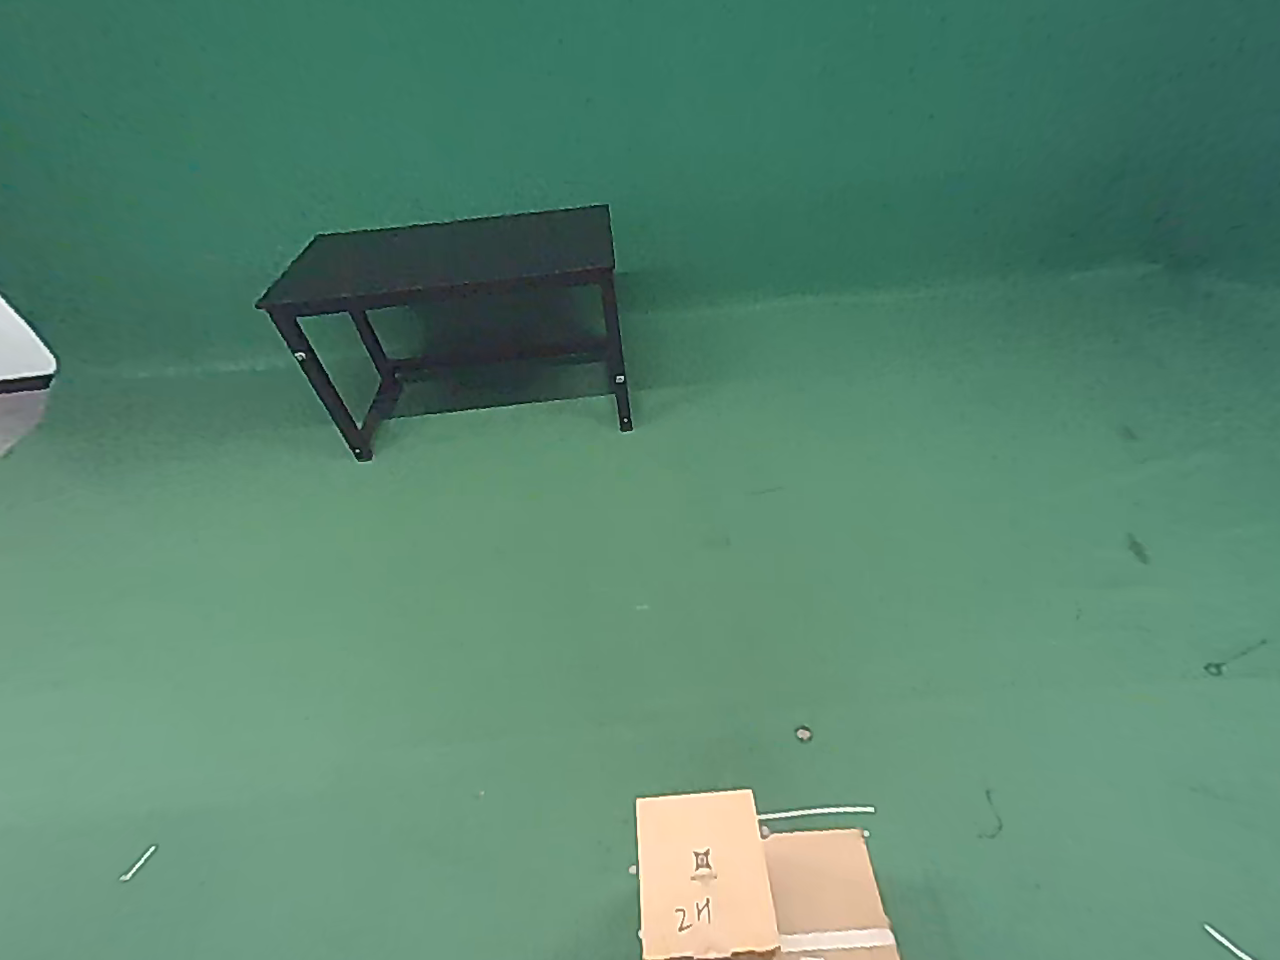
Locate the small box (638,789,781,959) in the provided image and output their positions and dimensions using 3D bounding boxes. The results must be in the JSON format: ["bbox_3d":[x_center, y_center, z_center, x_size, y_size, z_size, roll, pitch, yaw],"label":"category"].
[{"bbox_3d":[0.085,0.552,0.742,0.168,0.176,0.179,-6,44,1],"label":"small box"}]

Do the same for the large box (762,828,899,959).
[{"bbox_3d":[0.225,0.868,0.986,0.408,0.320,0.320,-5,45,1],"label":"large box"}]
